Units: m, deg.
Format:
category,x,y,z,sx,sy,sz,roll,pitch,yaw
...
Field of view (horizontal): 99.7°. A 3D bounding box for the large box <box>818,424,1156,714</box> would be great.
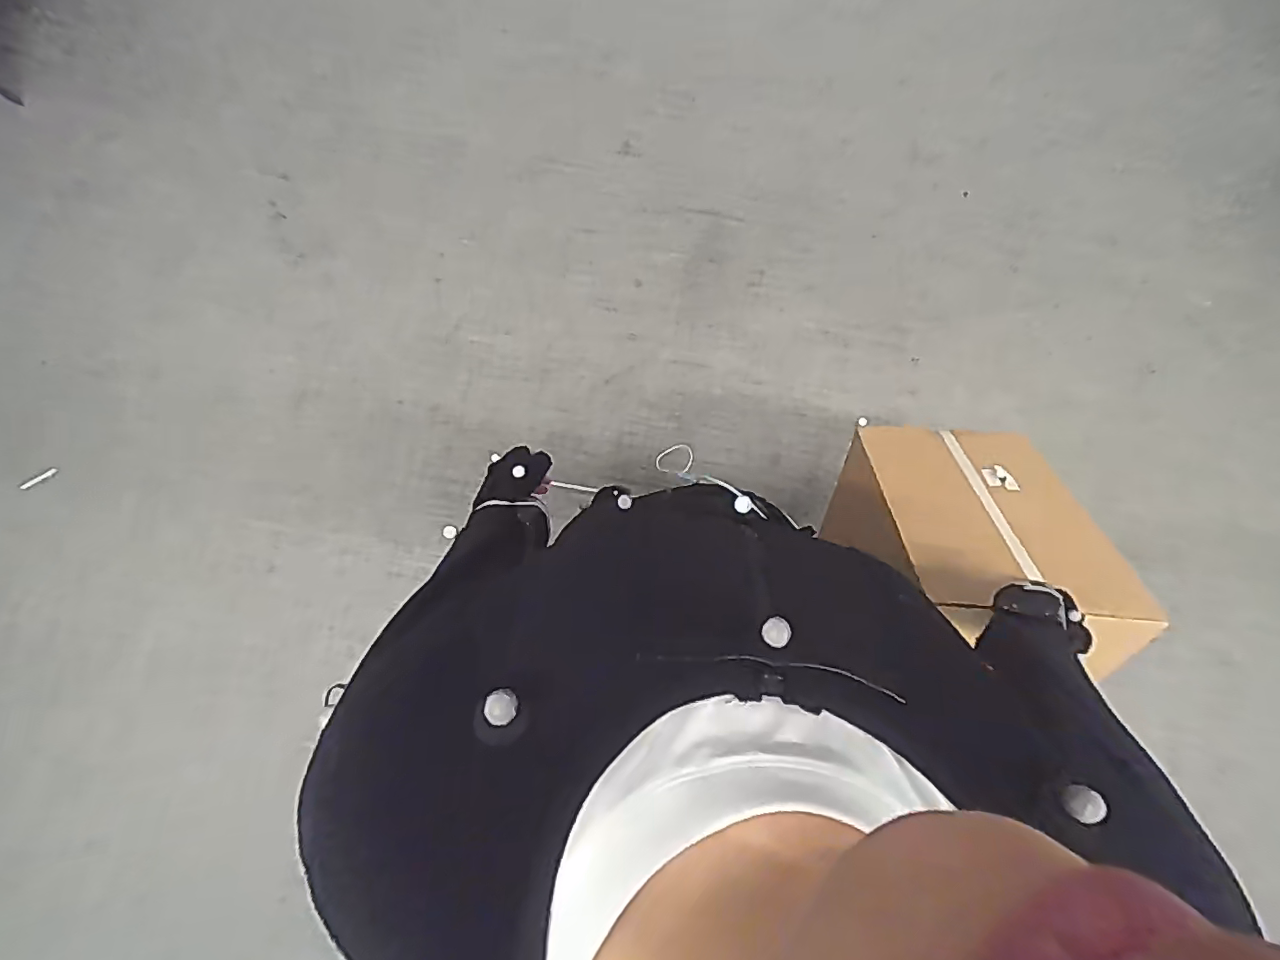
category,x,y,z,sx,sy,sz,roll,pitch,yaw
large box,0.537,0.147,0.959,0.320,0.408,0.320,5,130,1
